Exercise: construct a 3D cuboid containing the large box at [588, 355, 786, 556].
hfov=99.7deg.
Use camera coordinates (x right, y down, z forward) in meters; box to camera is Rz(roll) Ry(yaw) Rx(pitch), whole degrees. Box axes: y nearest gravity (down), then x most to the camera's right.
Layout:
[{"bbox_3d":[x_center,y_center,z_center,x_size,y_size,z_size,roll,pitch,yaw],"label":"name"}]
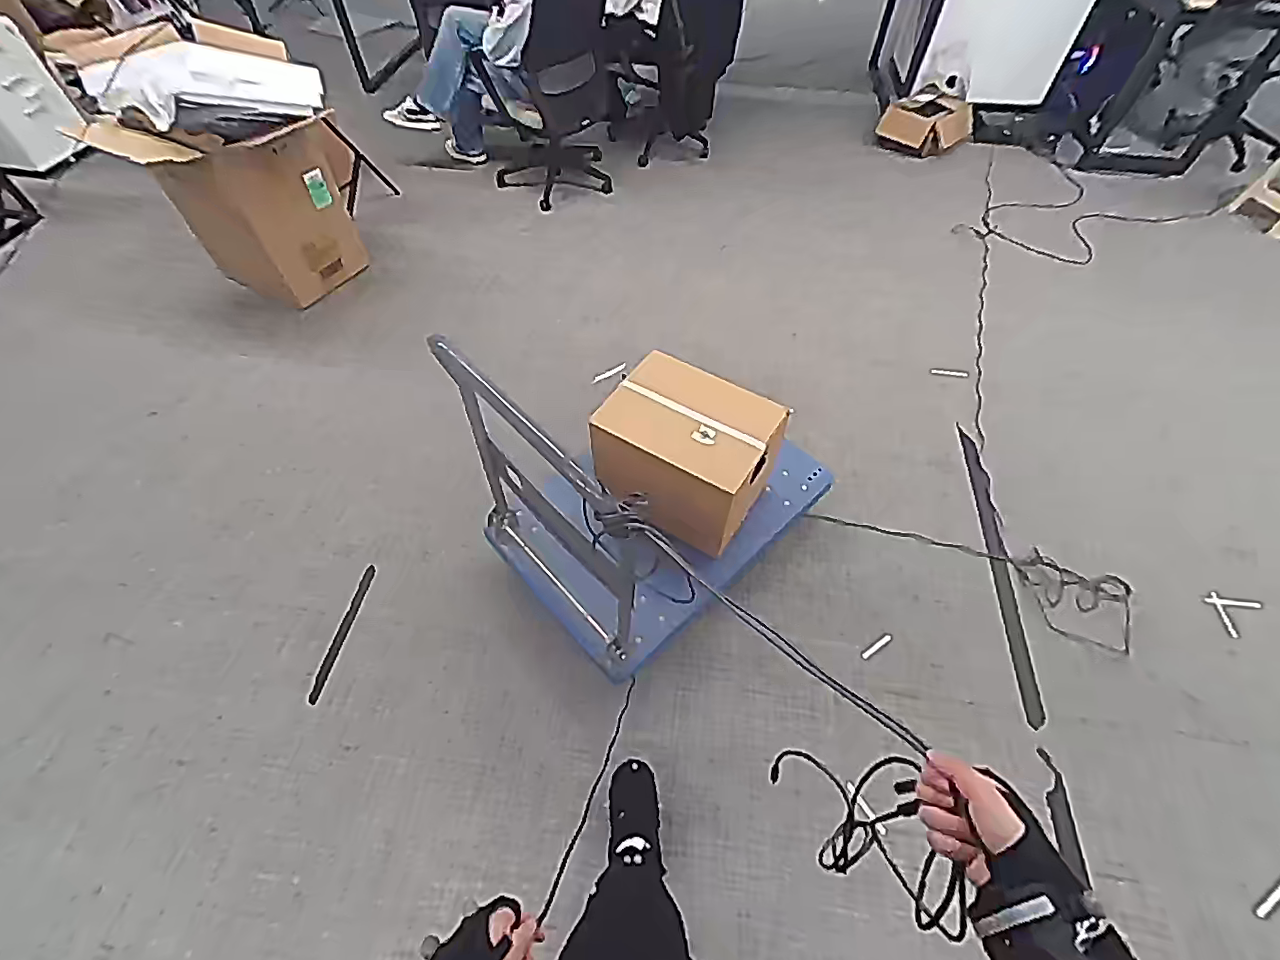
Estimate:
[{"bbox_3d":[0.114,-0.066,1.446,0.408,0.320,0.320,28,59,17],"label":"large box"}]
